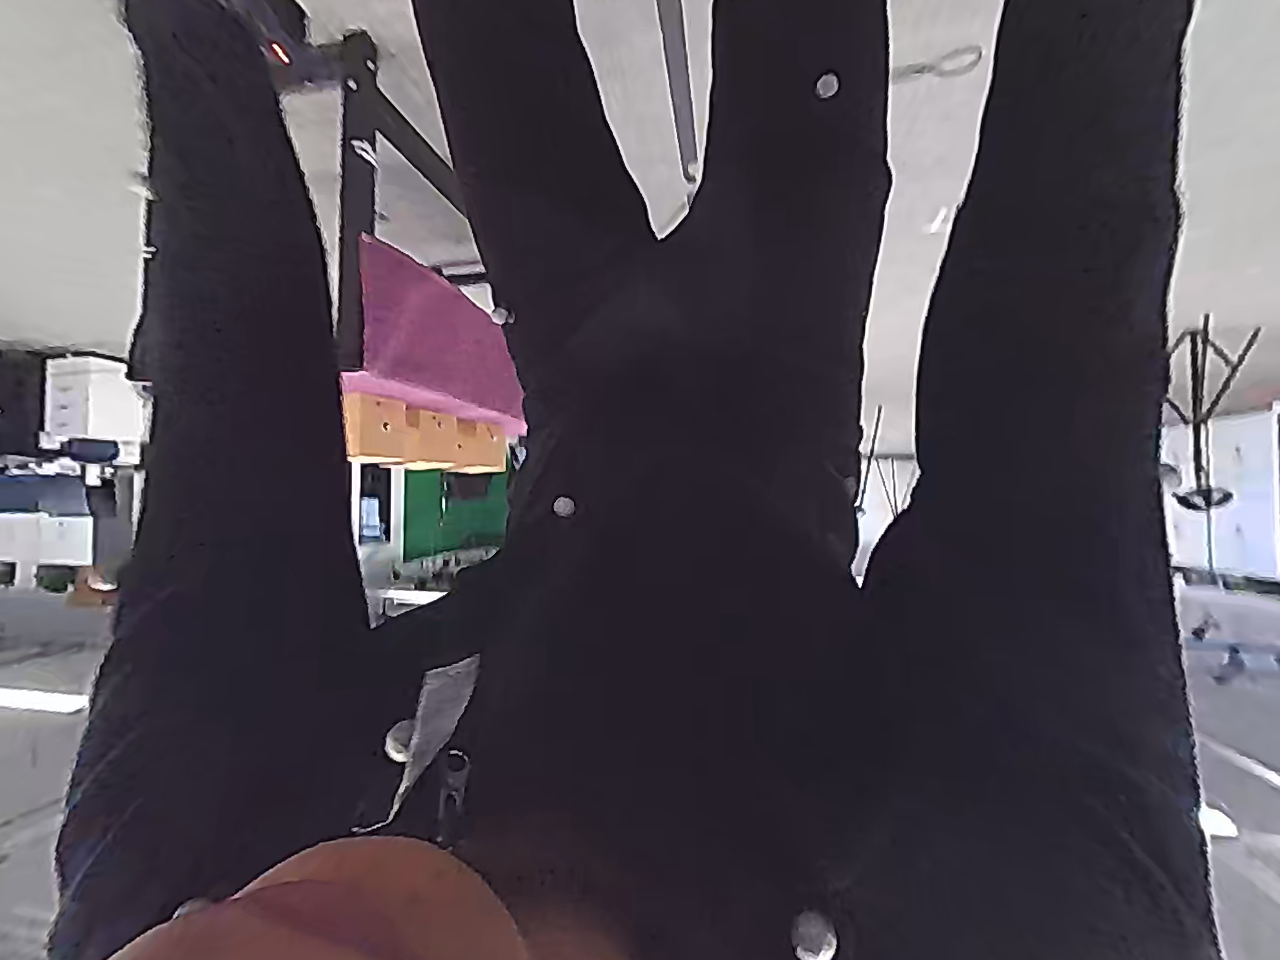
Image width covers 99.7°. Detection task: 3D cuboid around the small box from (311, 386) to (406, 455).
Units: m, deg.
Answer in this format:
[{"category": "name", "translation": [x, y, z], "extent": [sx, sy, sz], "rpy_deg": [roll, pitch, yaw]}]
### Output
[{"category": "small box", "translation": [-0.766, -0.159, 1.474], "extent": [0.179, 0.176, 0.168], "rpy_deg": [0, 179, 17]}]

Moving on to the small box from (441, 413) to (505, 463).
[{"category": "small box", "translation": [-0.623, -0.153, 2.029], "extent": [0.179, 0.176, 0.168], "rpy_deg": [-1, 179, 24]}]
